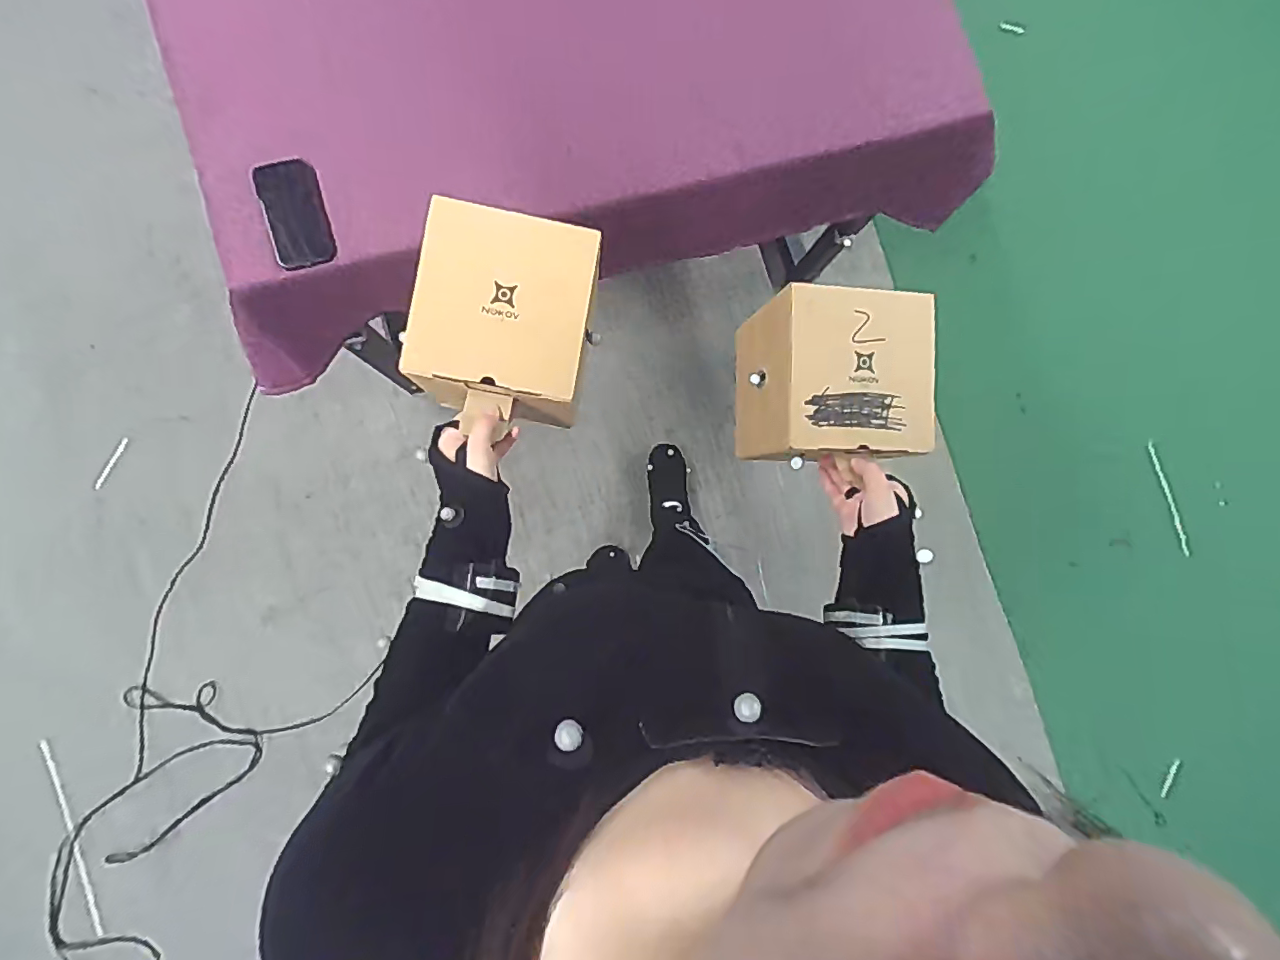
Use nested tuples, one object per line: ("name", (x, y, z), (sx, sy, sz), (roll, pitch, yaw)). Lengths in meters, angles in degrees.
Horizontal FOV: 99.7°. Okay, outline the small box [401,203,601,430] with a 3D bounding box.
("small box", (-0.143, -0.164, 0.600), (0.168, 0.176, 0.179), (9, 86, -7))
